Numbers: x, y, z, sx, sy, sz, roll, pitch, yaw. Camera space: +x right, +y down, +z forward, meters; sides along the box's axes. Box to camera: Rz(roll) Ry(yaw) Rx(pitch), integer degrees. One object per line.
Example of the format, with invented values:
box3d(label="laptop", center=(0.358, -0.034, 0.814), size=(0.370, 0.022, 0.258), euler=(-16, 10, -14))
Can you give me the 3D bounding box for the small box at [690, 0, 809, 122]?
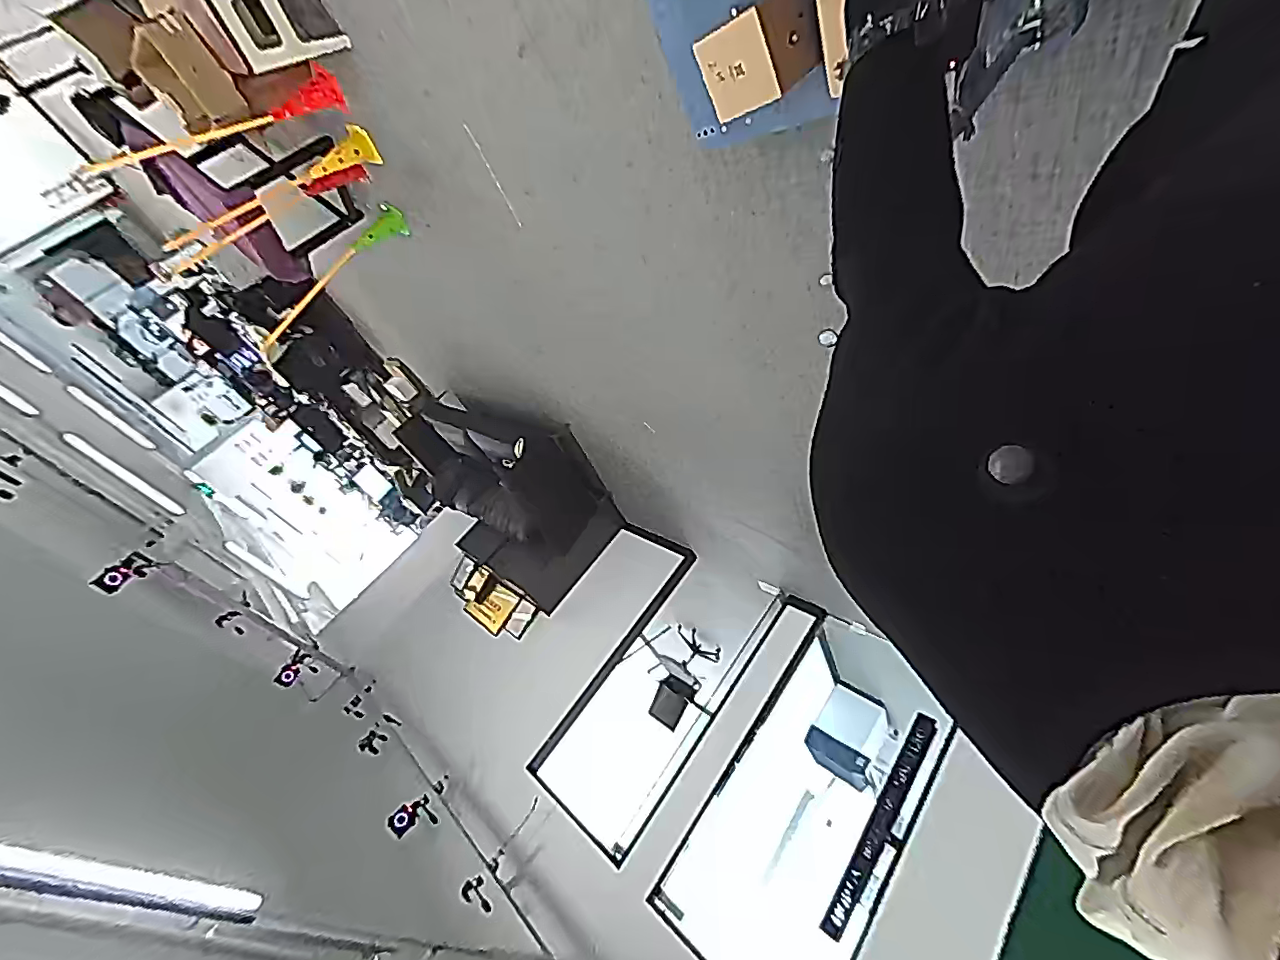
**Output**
box3d(label="small box", center=(0.249, -0.937, 1.188), size=(0.179, 0.176, 0.168), euler=(14, 146, 48))
